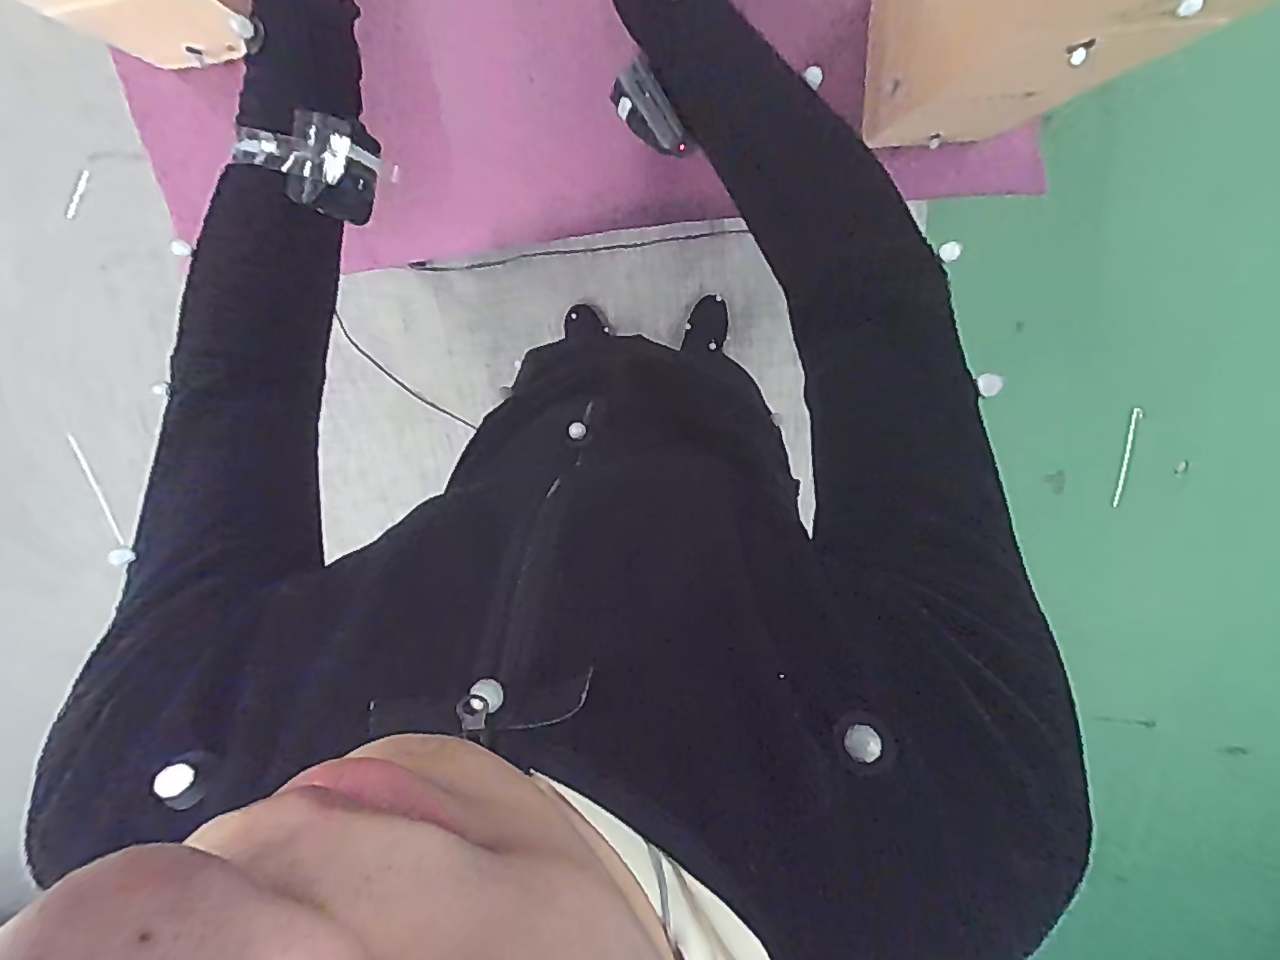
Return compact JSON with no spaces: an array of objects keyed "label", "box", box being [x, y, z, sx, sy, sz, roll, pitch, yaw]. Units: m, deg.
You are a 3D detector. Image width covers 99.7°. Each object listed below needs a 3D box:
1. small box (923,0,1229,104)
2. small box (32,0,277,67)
[{"label":"small box","box":[0.373,-0.464,0.474,0.168,0.176,0.179,-3,108,2]},{"label":"small box","box":[-0.556,-0.604,0.600,0.168,0.176,0.179,-9,110,3]}]
